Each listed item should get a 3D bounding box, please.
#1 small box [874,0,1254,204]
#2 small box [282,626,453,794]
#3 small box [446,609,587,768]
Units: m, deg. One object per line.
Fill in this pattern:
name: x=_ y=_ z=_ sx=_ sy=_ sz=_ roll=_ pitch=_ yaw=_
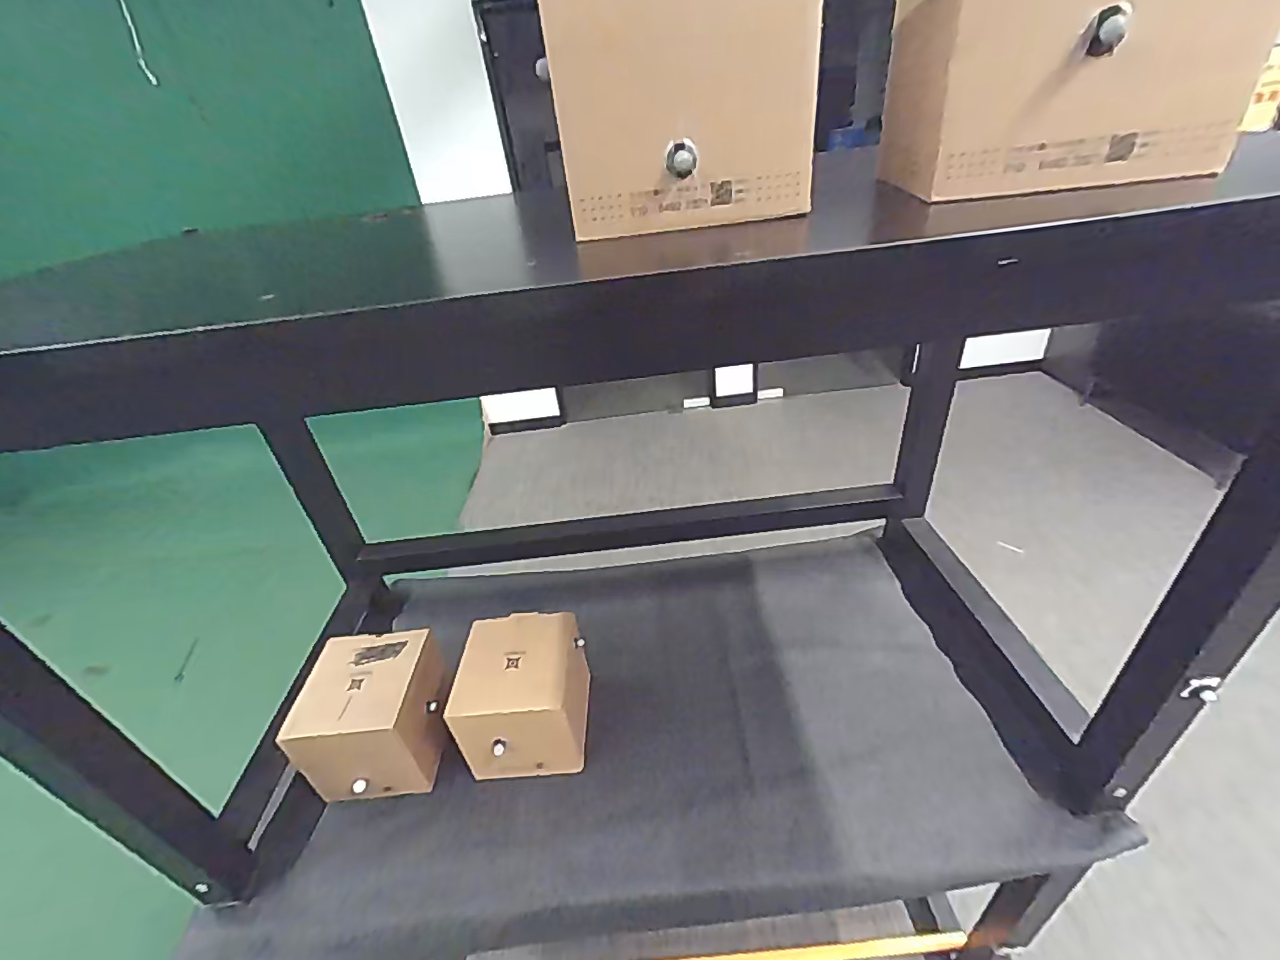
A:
small box: x=0.274 y=-0.298 z=0.379 sx=0.168 sy=0.176 sz=0.179 roll=0 pitch=33 yaw=11
small box: x=-0.405 y=0.357 z=0.848 sx=0.168 sy=0.176 sz=0.179 roll=-6 pitch=33 yaw=1
small box: x=-0.179 y=0.331 z=0.850 sx=0.168 sy=0.176 sz=0.179 roll=-5 pitch=33 yaw=2
